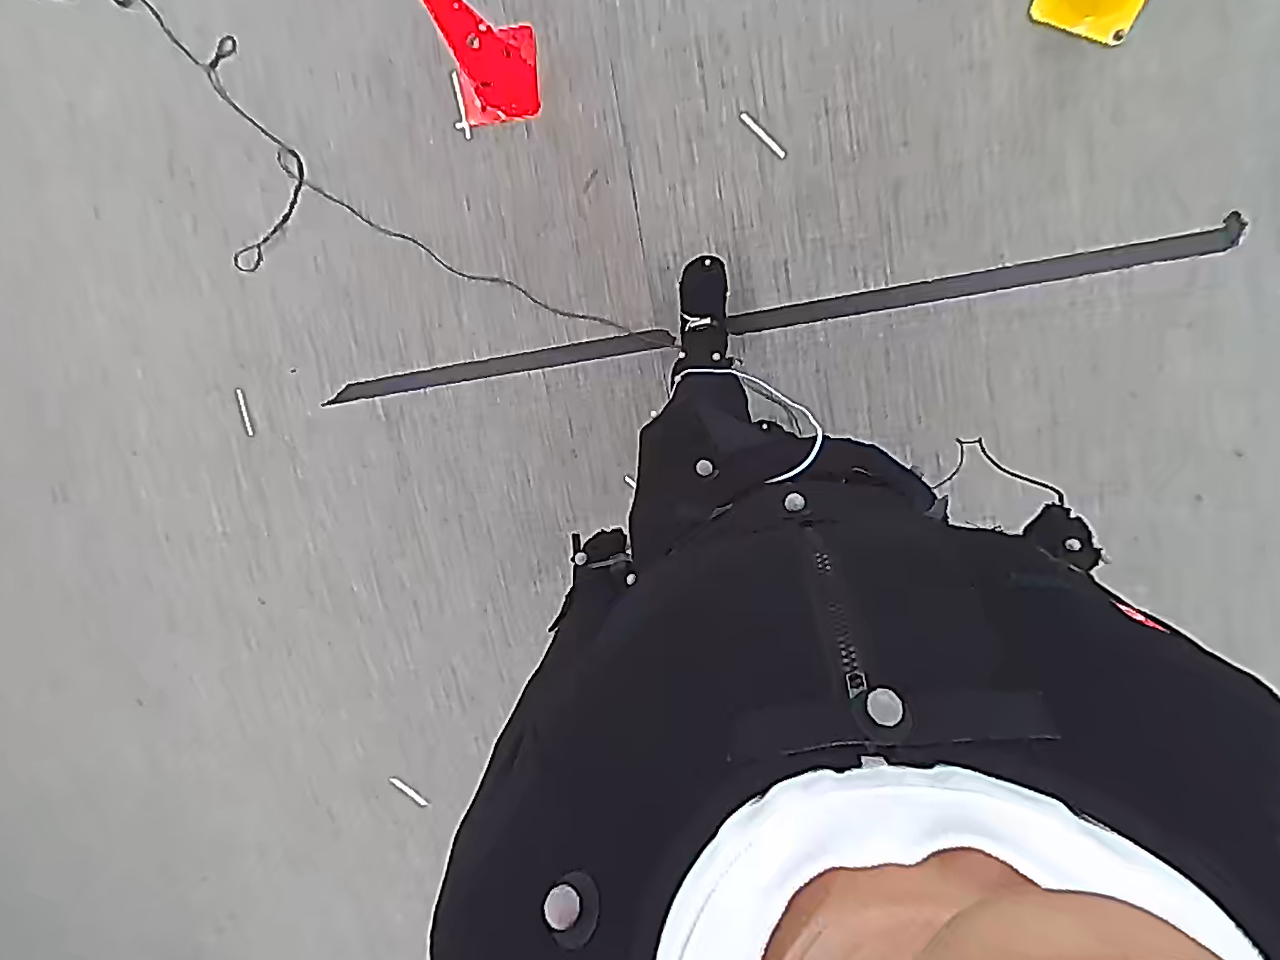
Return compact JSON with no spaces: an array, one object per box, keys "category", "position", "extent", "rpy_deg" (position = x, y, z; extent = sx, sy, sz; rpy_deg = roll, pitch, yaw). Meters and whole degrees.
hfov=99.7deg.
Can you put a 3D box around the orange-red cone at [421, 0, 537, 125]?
[{"category":"orange-red cone","position":[-0.374,-0.949,1.154],"extent":[0.199,0.360,0.198],"rpy_deg":[-1,101,8]}]
